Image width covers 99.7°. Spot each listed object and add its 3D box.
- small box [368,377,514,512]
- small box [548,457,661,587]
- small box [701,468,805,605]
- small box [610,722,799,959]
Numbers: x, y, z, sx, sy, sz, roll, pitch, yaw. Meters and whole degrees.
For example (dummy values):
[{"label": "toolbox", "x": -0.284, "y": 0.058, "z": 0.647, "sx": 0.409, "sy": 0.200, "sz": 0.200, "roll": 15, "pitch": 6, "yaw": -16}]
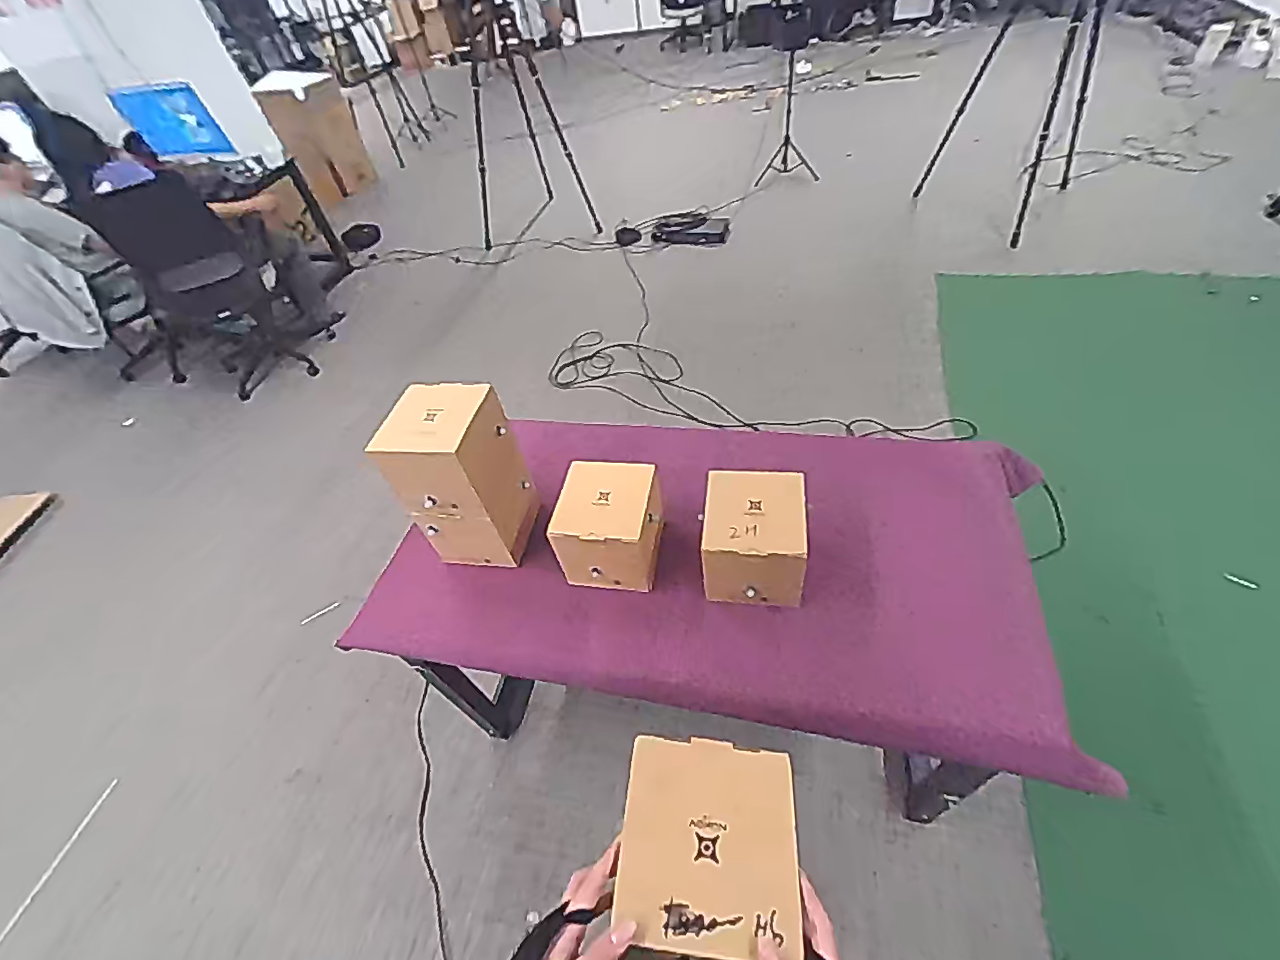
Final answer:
[{"label": "small box", "x": -0.343, "y": -0.066, "z": 0.979, "sx": 0.168, "sy": 0.176, "sz": 0.179, "roll": 3, "pitch": 50, "yaw": 12}, {"label": "small box", "x": -0.056, "y": 0.079, "z": 1.028, "sx": 0.168, "sy": 0.176, "sz": 0.179, "roll": 4, "pitch": 51, "yaw": 12}, {"label": "small box", "x": 0.201, "y": 0.100, "z": 0.965, "sx": 0.168, "sy": 0.176, "sz": 0.179, "roll": 2, "pitch": 50, "yaw": 12}, {"label": "small box", "x": 0.065, "y": 0.388, "z": 0.572, "sx": 0.168, "sy": 0.176, "sz": 0.179, "roll": 5, "pitch": 43, "yaw": 6}]
